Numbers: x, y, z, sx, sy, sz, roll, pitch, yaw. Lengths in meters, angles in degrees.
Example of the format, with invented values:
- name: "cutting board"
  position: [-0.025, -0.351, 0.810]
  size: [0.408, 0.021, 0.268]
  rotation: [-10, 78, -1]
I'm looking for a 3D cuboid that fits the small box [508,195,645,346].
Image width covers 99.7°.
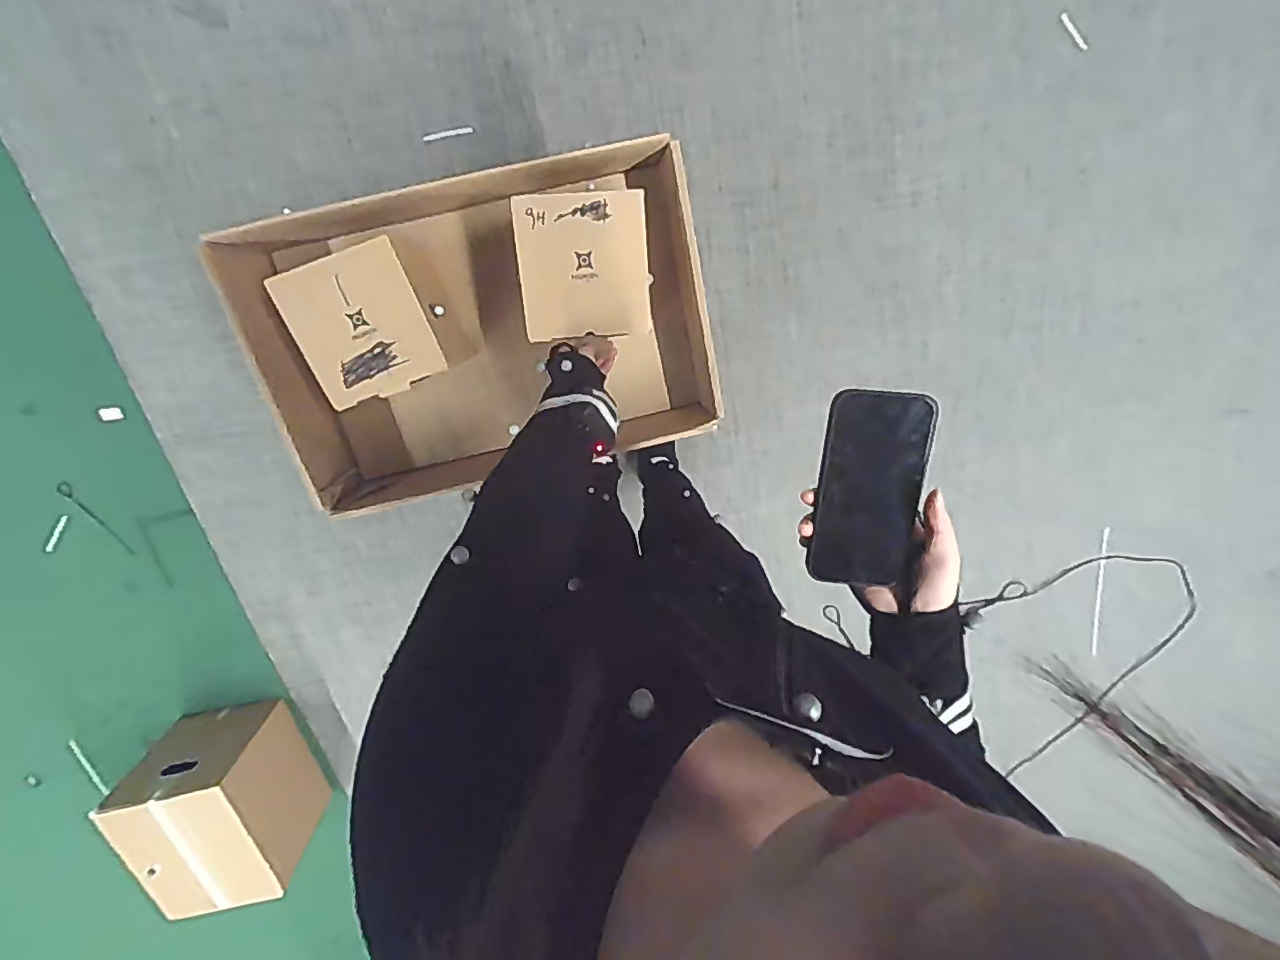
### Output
- name: "small box"
  position: [-0.082, -0.290, 0.762]
  size: [0.168, 0.176, 0.179]
  rotation: [-5, 109, -4]
